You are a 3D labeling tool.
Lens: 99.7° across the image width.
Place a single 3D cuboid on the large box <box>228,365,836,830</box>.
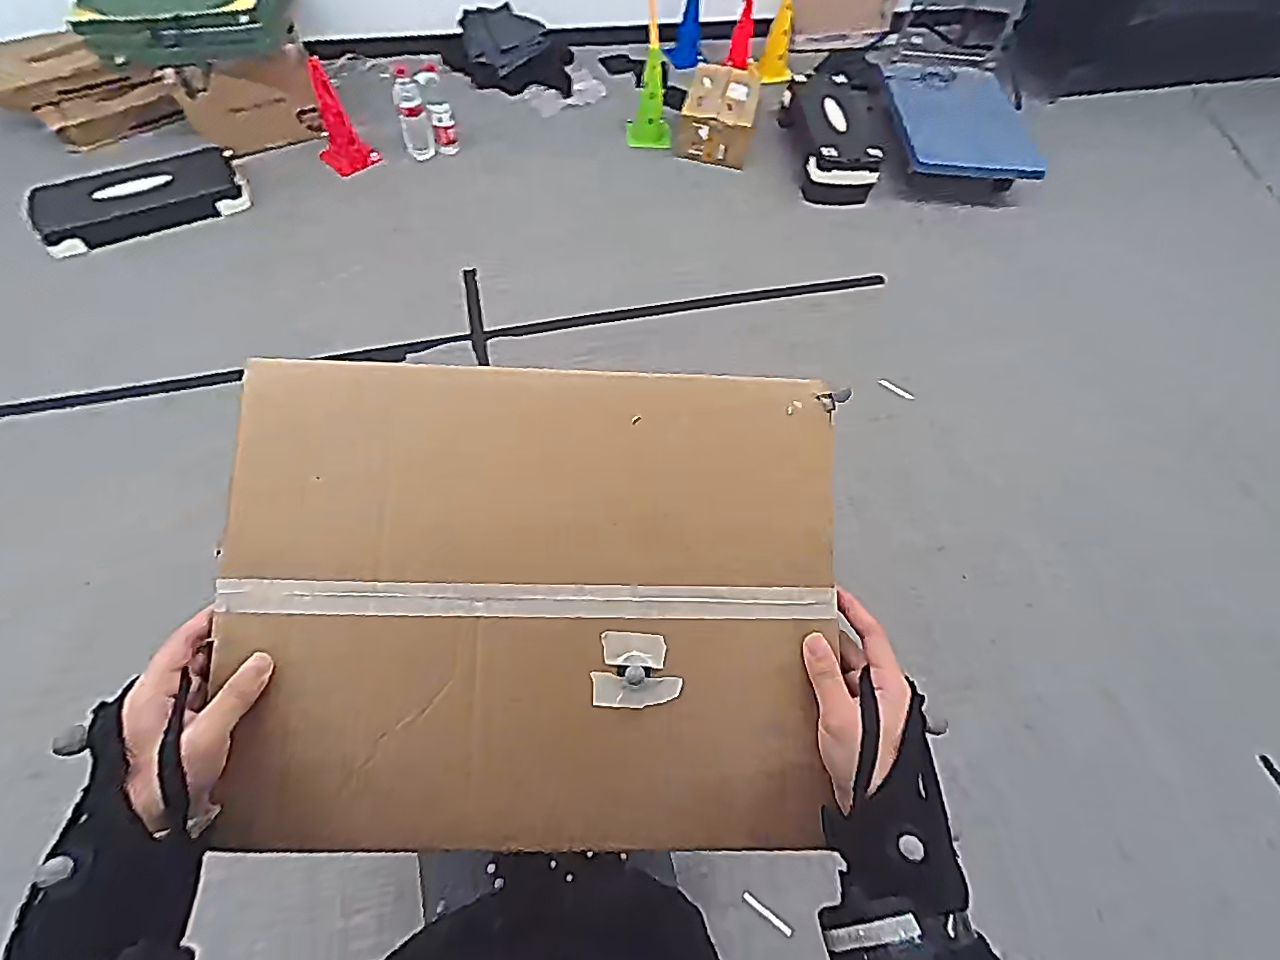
[{"bbox_3d":[-0.072,0.094,0.520,0.408,0.320,0.320,2,84,-3],"label":"large box"}]
